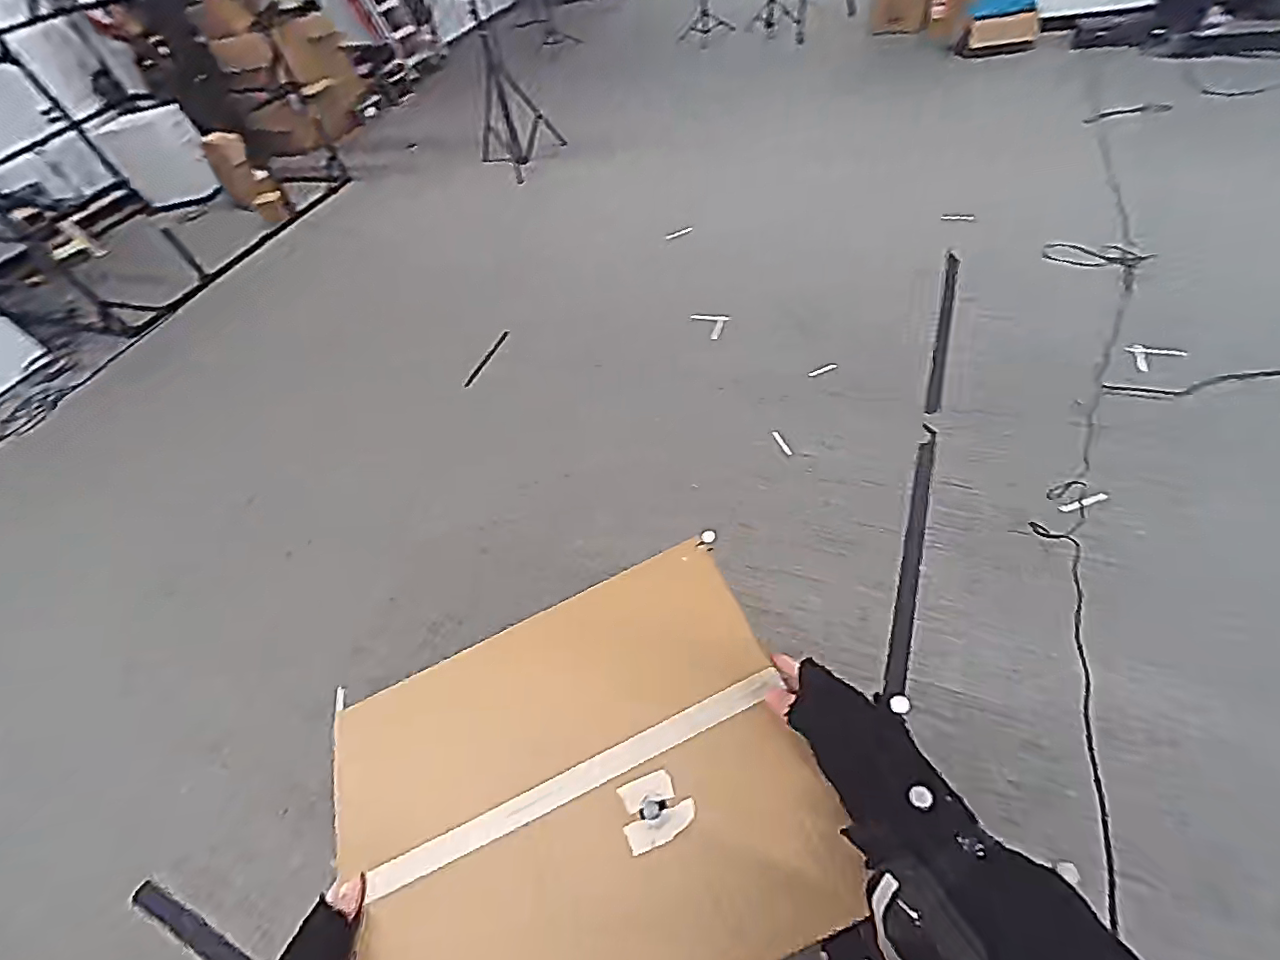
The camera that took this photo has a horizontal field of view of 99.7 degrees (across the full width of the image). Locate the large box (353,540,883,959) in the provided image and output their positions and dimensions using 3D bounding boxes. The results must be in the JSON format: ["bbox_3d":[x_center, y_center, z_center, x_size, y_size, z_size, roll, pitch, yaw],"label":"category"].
[{"bbox_3d":[-0.023,0.339,0.583,0.408,0.320,0.320,-26,55,-2],"label":"large box"}]
